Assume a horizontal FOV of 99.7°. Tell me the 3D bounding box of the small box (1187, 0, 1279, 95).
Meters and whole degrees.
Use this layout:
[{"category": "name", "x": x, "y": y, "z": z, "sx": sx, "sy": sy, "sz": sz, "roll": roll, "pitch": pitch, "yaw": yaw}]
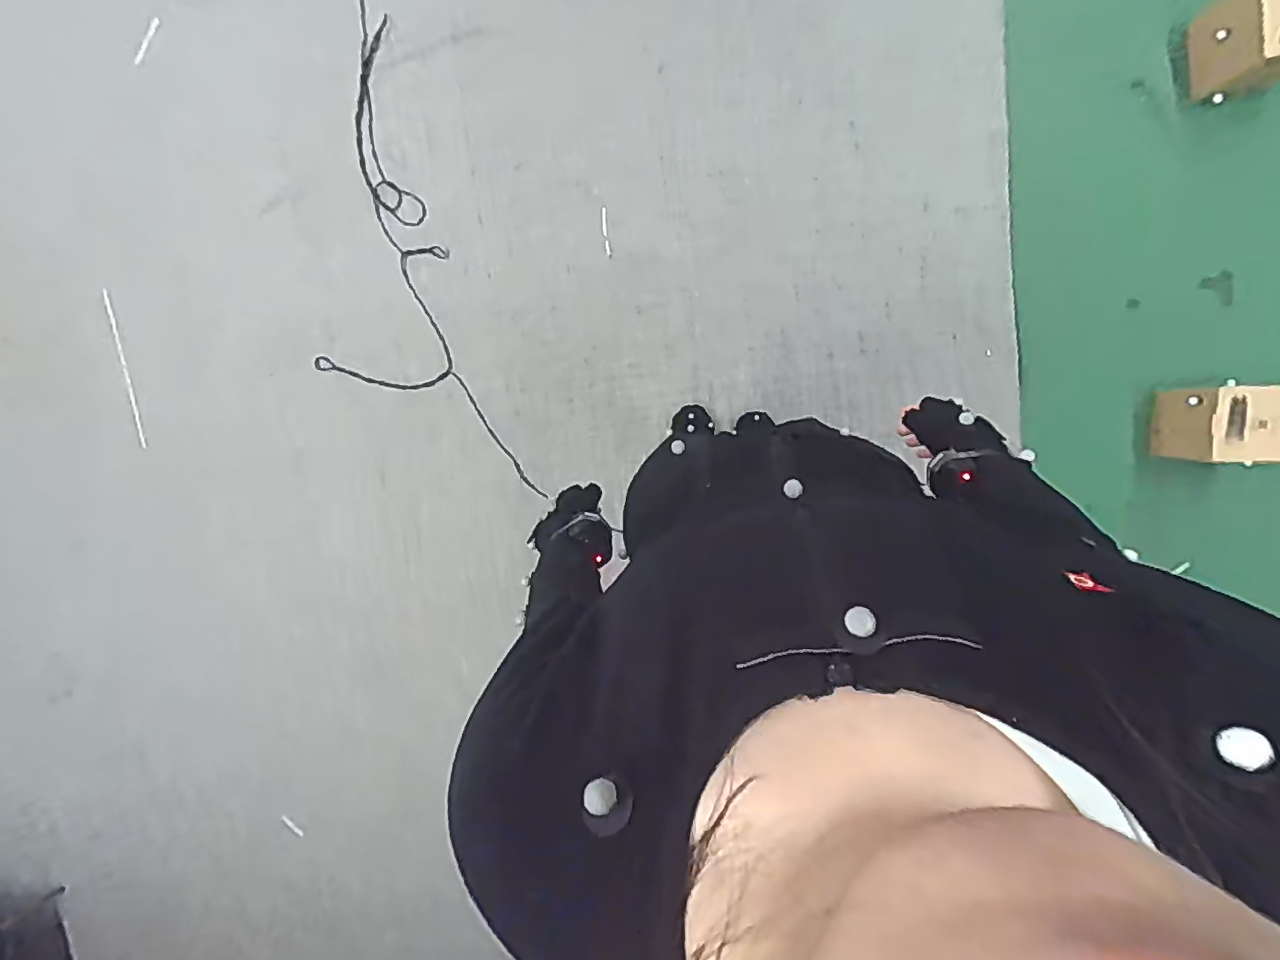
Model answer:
[{"category": "small box", "x": 1.314, "y": -0.951, "z": 1.137, "sx": 0.168, "sy": 0.176, "sz": 0.179, "roll": -9, "pitch": 95, "yaw": 8}]
